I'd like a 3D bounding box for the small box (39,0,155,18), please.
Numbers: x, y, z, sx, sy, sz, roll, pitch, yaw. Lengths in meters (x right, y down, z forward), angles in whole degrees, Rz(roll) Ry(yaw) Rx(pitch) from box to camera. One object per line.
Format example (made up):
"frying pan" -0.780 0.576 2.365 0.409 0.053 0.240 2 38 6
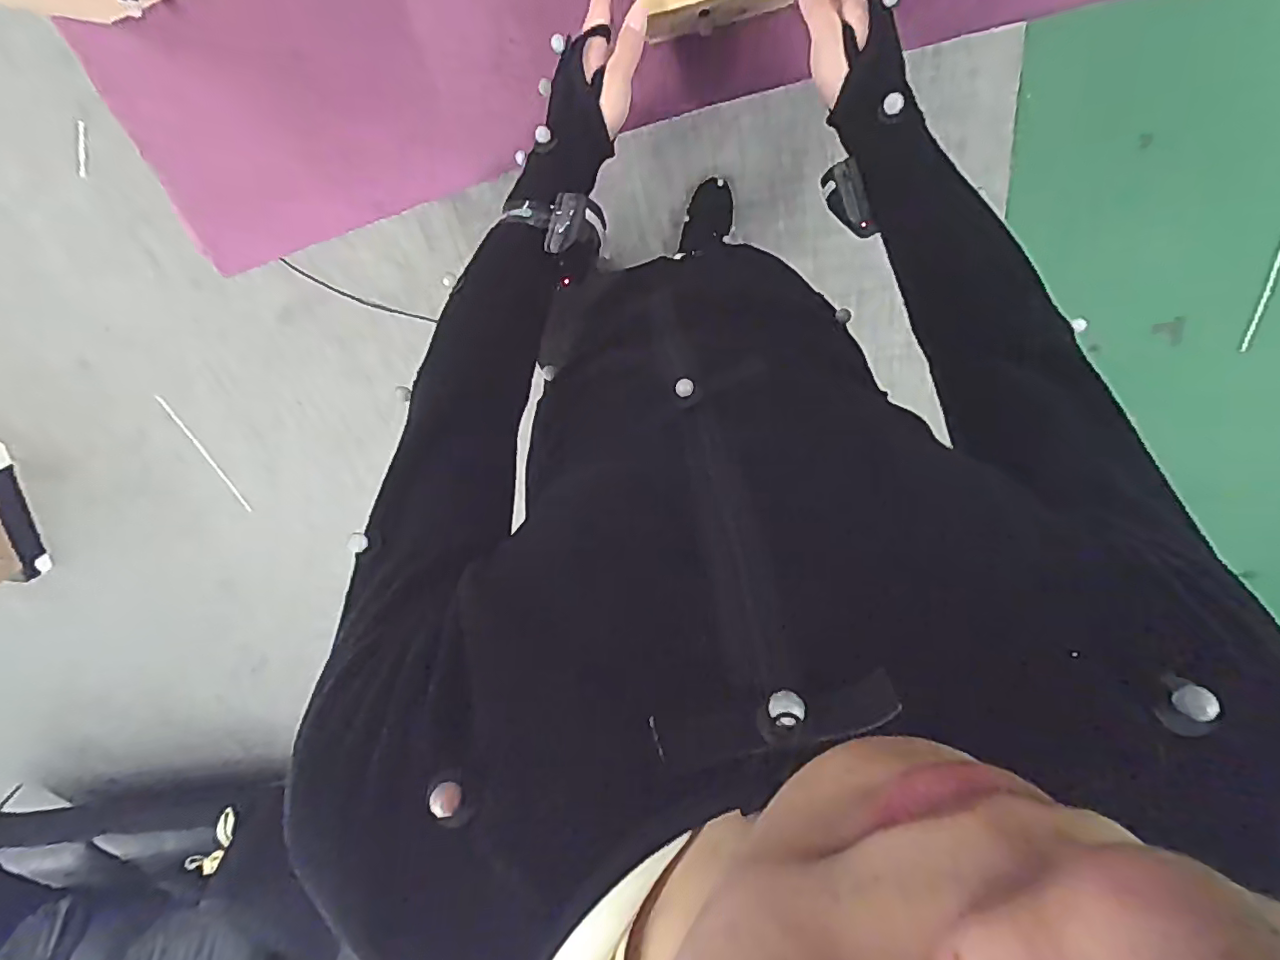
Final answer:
"small box" -0.571 -0.577 0.503 0.168 0.176 0.179 -12 123 12

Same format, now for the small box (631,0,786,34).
"small box" 0.064 -0.534 0.487 0.168 0.176 0.179 -8 121 10
